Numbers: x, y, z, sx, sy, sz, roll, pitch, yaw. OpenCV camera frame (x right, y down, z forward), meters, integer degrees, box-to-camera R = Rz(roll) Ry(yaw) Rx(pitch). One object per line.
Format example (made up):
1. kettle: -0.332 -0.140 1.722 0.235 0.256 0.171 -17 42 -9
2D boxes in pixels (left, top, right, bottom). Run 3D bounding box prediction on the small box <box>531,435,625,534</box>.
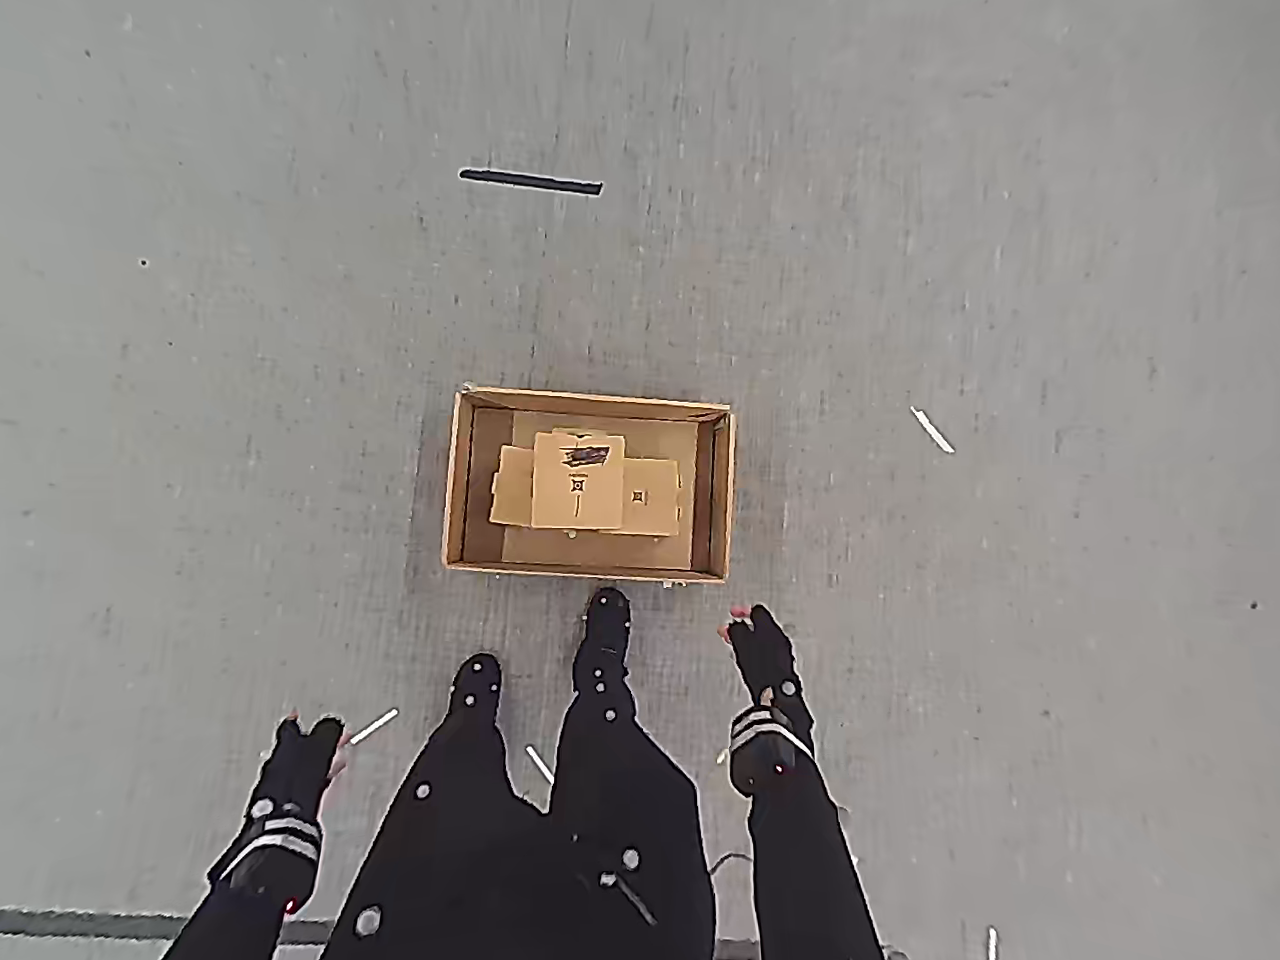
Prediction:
1. small box: -0.124 0.016 1.065 0.168 0.176 0.179 2 85 -8
